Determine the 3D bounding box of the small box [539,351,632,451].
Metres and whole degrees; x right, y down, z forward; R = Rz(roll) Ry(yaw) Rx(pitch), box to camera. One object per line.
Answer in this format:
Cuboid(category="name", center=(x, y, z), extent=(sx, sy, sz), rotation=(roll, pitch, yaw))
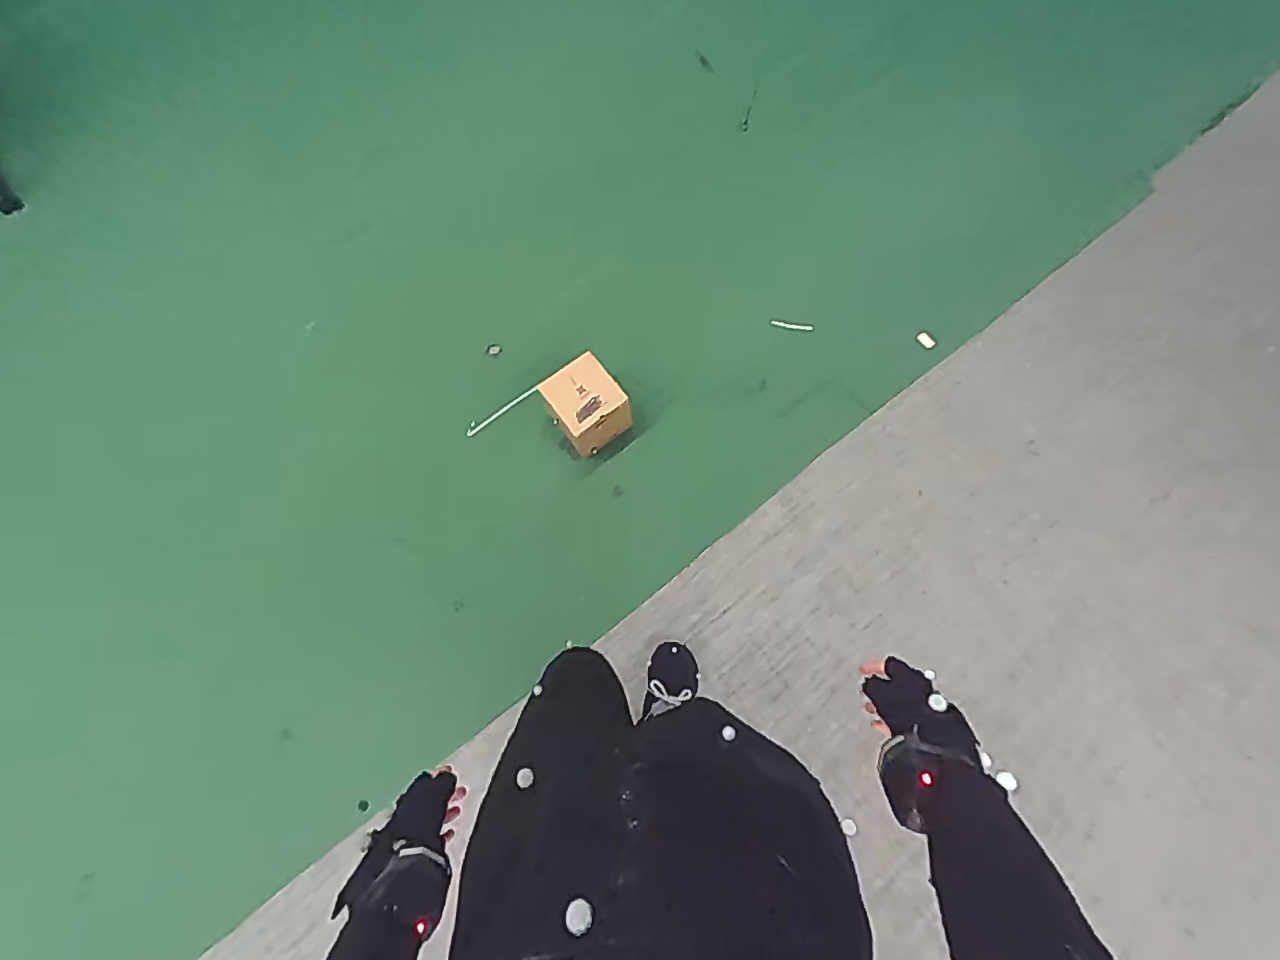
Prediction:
Cuboid(category="small box", center=(-0.135, -0.195, 1.417), extent=(0.168, 0.176, 0.179), rotation=(-36, 75, -8))
